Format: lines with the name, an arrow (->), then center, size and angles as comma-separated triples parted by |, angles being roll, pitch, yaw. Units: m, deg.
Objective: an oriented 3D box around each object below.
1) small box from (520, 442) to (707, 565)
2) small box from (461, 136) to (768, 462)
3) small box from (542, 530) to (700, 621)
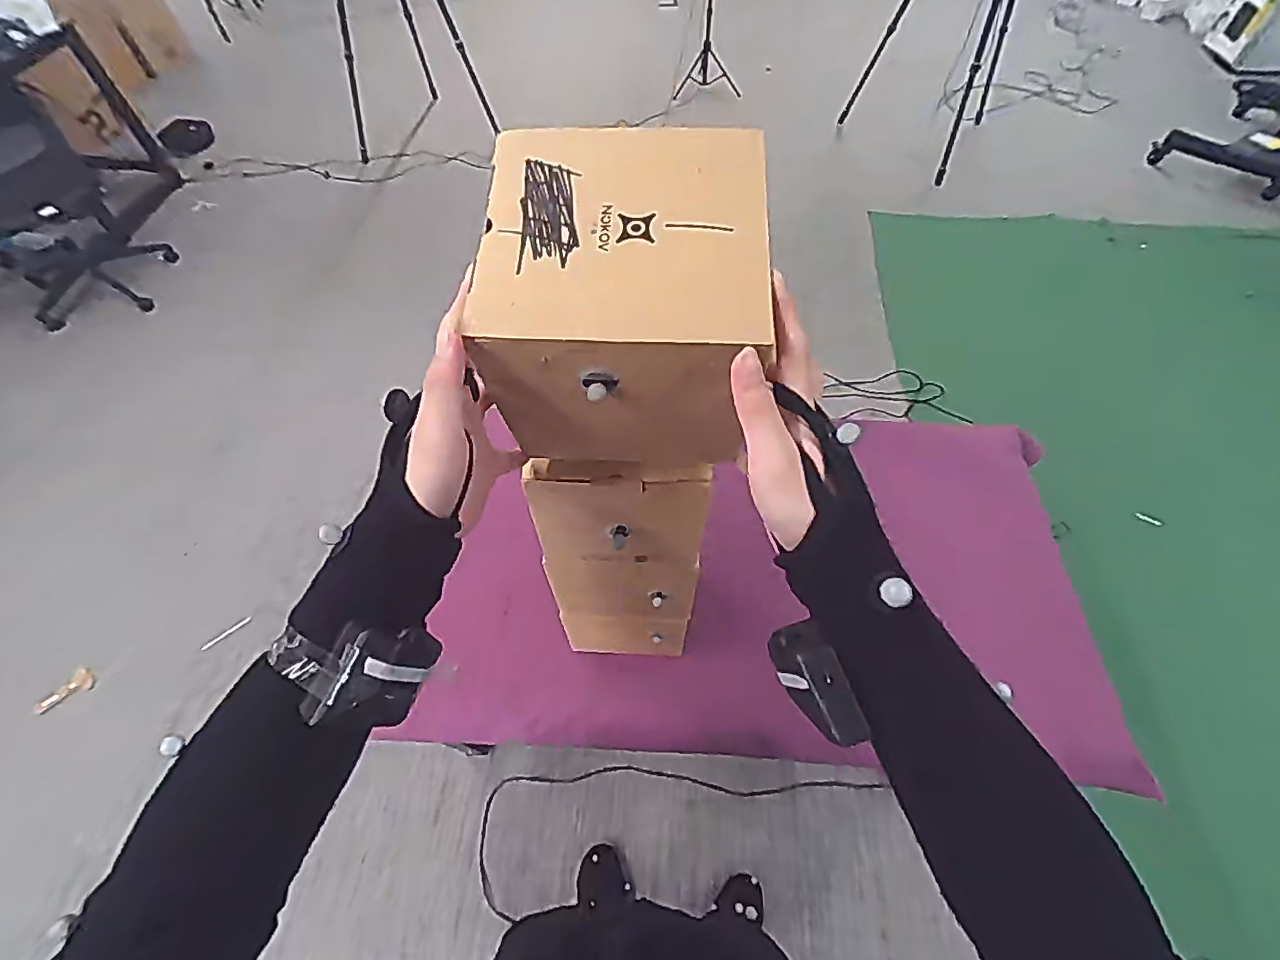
small box -> -0.018, -0.021, 0.573 | 0.168, 0.176, 0.179 | 2, 56, 1
small box -> -0.008, -0.120, 0.403 | 0.179, 0.176, 0.168 | 2, 69, 3
small box -> -0.016, 0.076, 0.705 | 0.179, 0.176, 0.168 | 2, 56, 3
